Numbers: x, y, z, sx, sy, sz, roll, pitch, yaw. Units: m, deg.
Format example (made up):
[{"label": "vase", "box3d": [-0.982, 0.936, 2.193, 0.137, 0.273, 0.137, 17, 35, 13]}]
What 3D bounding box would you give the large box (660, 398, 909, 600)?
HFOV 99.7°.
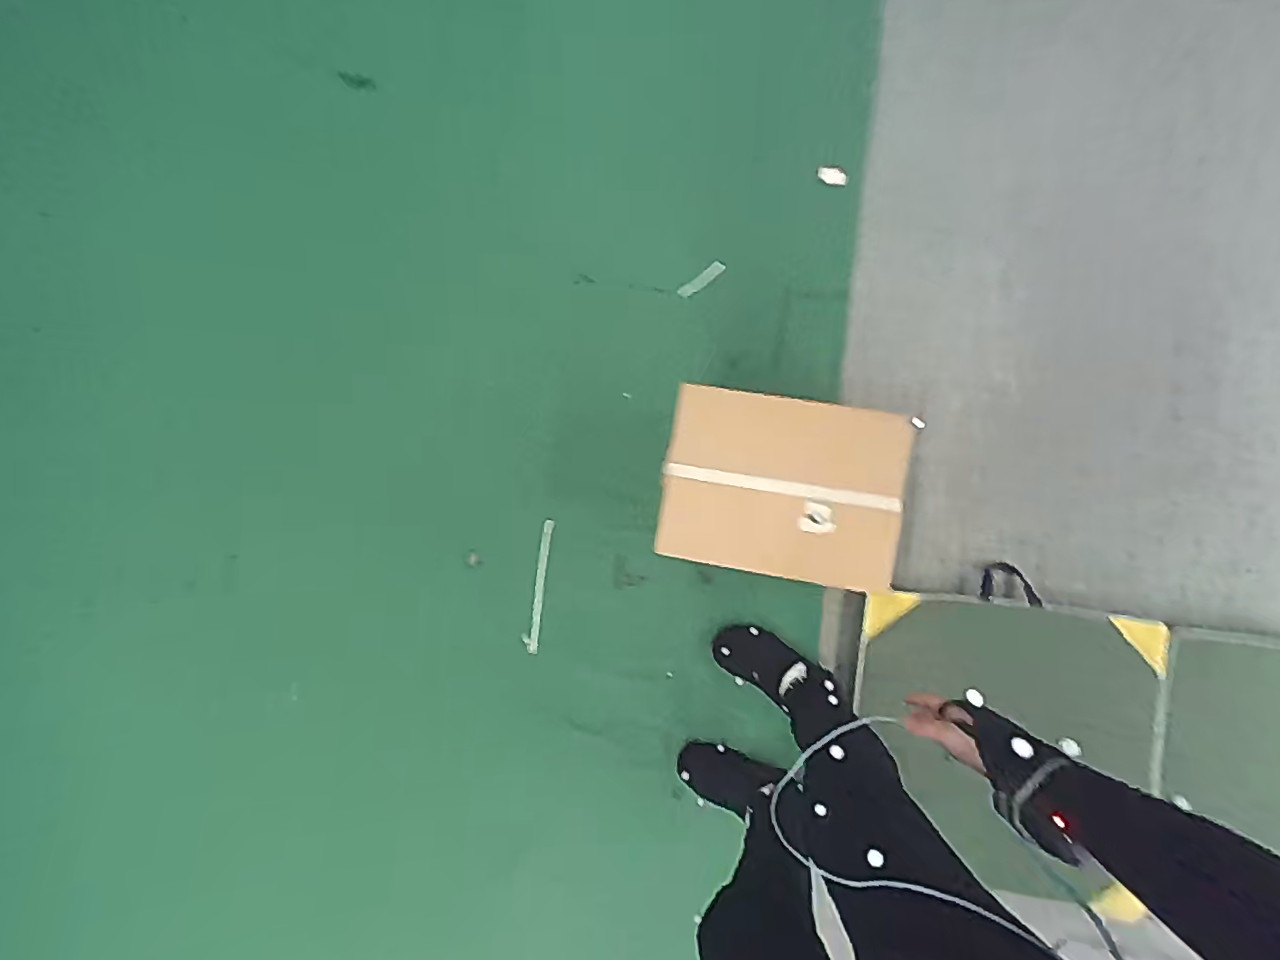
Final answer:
[{"label": "large box", "box3d": [0.265, 0.037, 1.102, 0.408, 0.320, 0.320, 9, 88, 6]}]
